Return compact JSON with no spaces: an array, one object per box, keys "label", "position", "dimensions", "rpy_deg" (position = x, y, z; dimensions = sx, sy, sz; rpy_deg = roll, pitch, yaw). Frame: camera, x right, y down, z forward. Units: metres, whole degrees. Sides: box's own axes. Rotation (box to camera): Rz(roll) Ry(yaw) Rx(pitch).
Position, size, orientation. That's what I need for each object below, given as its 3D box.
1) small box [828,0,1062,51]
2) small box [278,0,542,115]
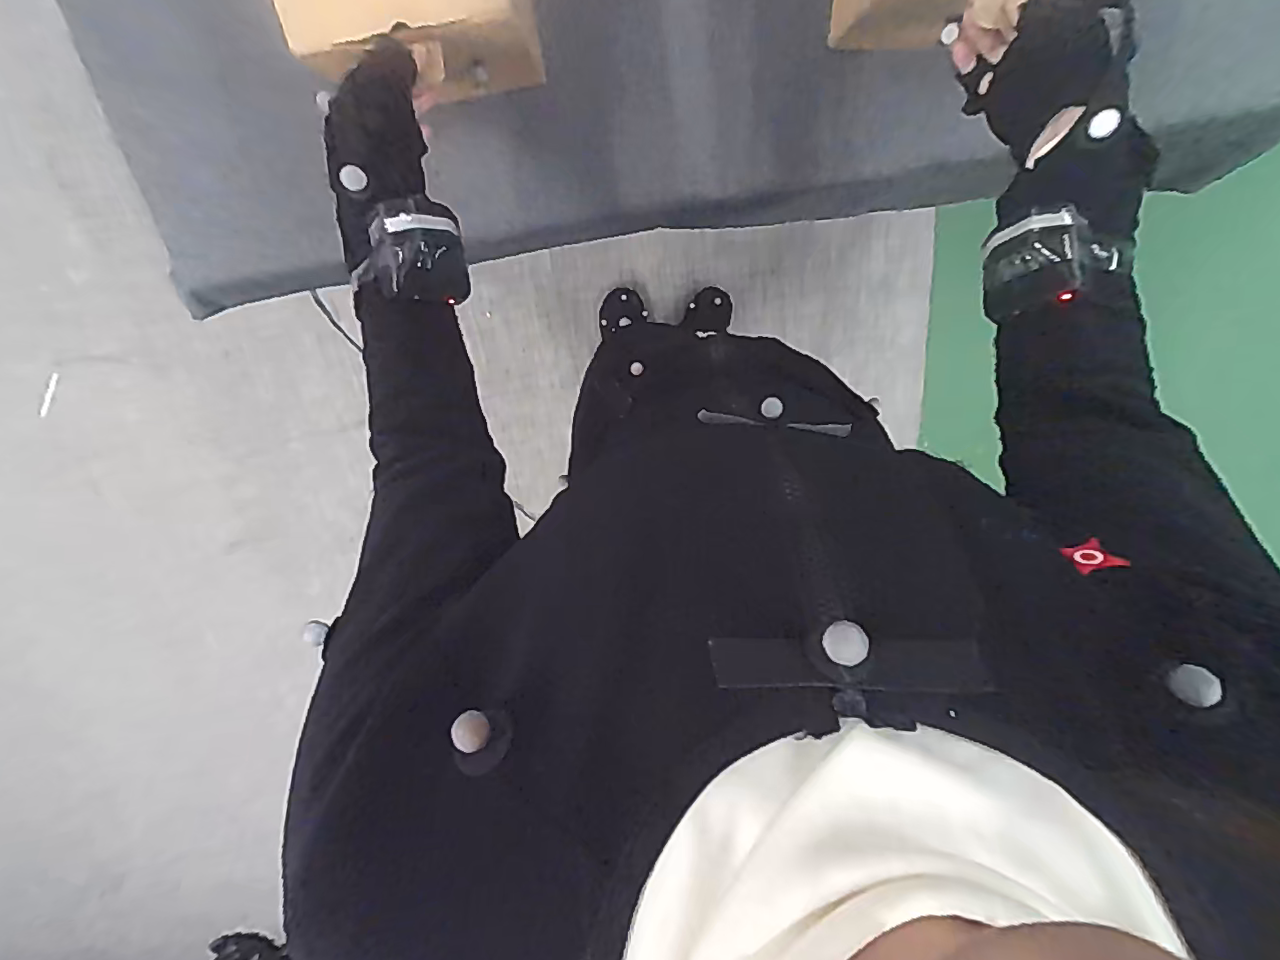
[{"label":"small box","position":[0.260,-0.465,0.425],"dimensions":[0.168,0.176,0.179],"rpy_deg":[0,114,0]},{"label":"small box","position":[-0.187,-0.425,0.443],"dimensions":[0.168,0.176,0.179],"rpy_deg":[-10,111,3]}]
